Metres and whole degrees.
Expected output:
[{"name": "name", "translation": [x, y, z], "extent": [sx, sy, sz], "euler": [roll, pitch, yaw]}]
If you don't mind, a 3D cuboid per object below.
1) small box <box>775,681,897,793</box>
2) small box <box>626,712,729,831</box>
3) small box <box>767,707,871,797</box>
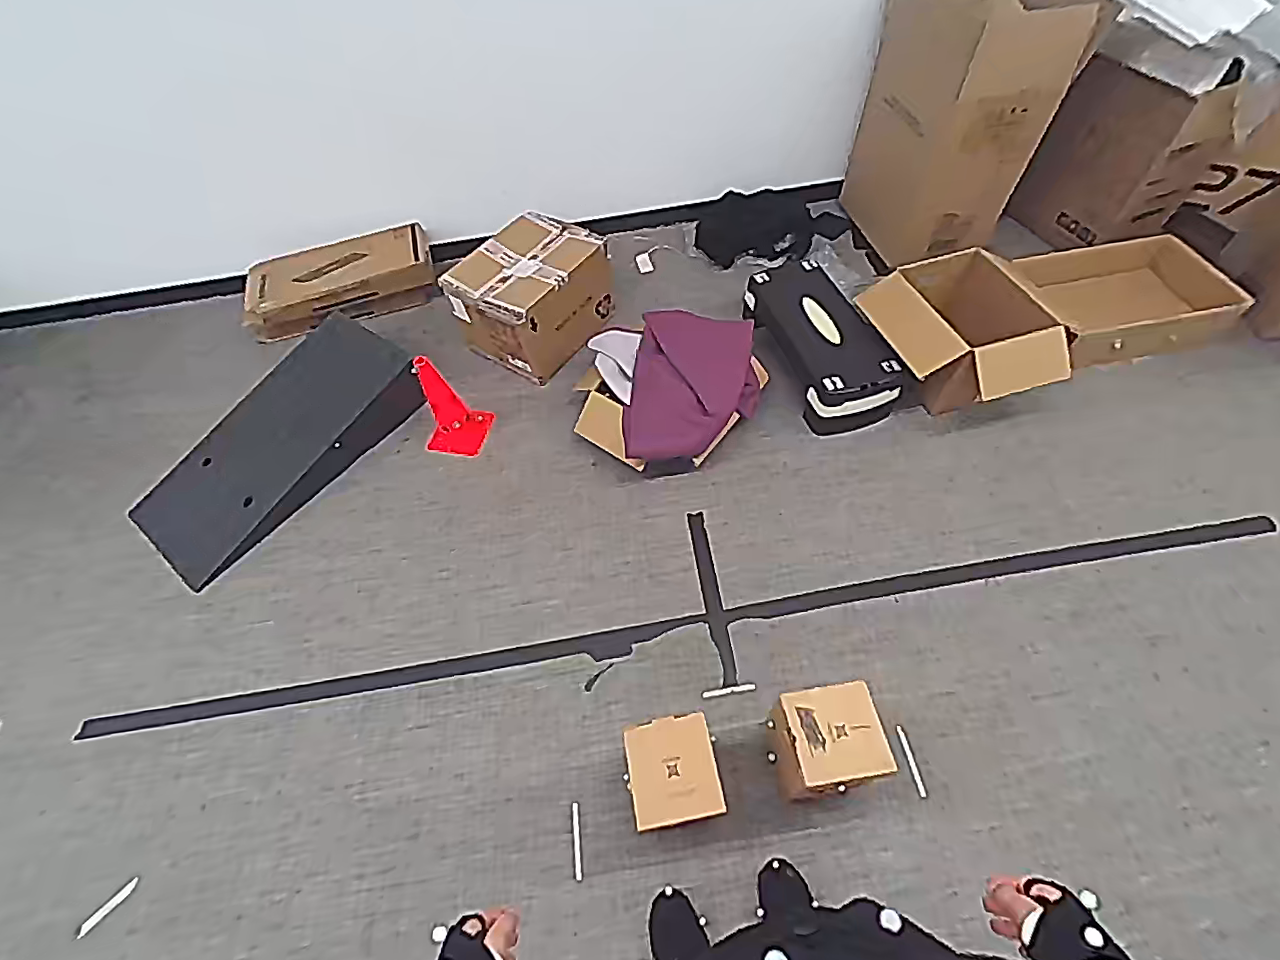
[{"name": "small box", "translation": [0.381, 0.523, 1.093], "extent": [0.179, 0.176, 0.168], "euler": [-9, 56, -1]}, {"name": "small box", "translation": [0.072, 0.586, 1.082], "extent": [0.168, 0.176, 0.179], "euler": [-12, 58, -1]}, {"name": "small box", "translation": [0.397, 0.613, 1.230], "extent": [0.168, 0.176, 0.179], "euler": [-7, 58, -1]}]
